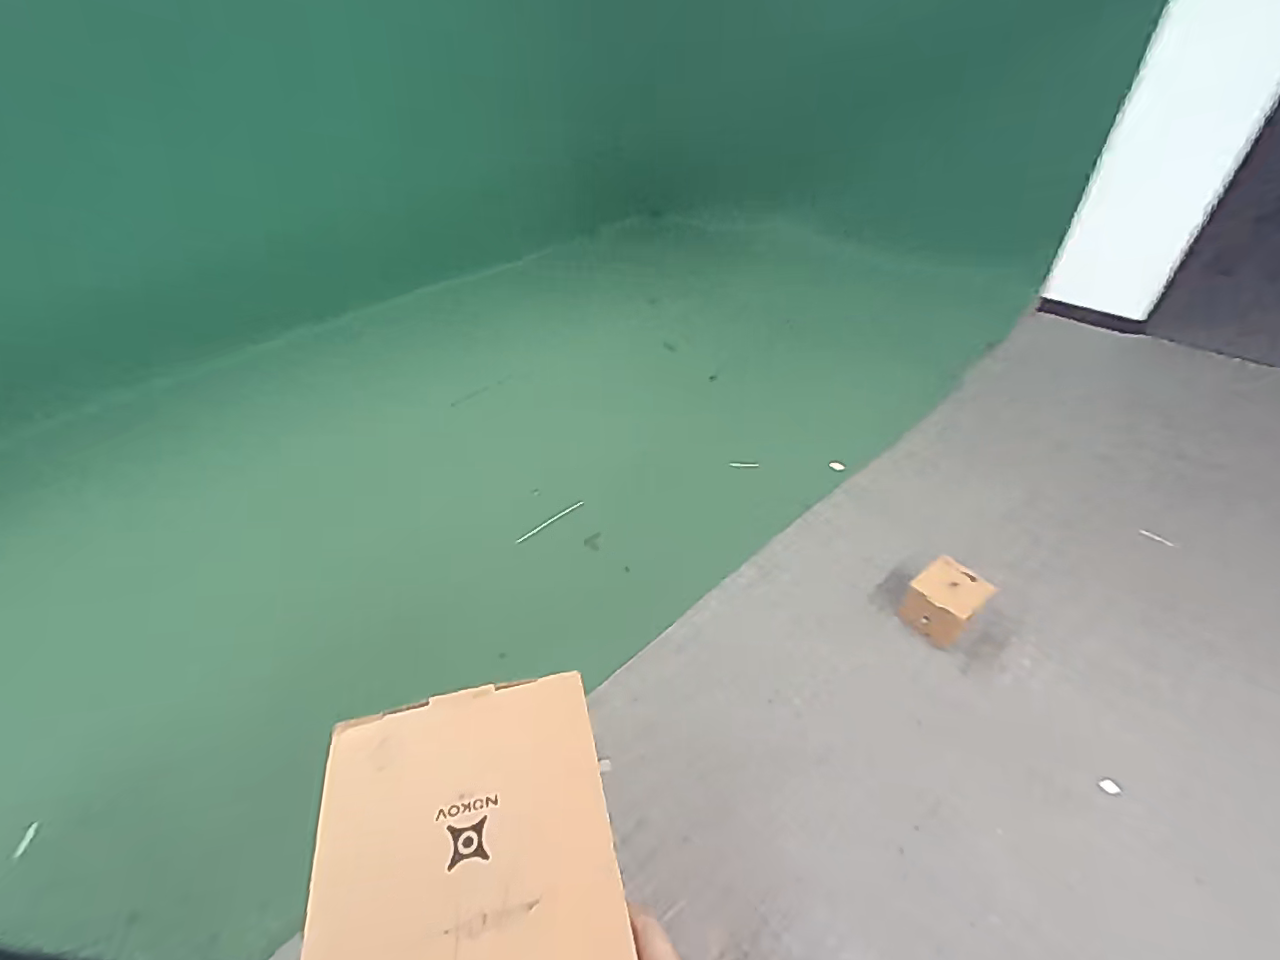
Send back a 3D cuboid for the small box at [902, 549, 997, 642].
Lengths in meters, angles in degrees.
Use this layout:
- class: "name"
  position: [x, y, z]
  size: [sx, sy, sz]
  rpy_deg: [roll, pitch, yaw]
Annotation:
- class: "small box"
  position: [0.907, 0.345, 1.603]
  size: [0.179, 0.176, 0.168]
  rpy_deg: [-30, 48, -22]
